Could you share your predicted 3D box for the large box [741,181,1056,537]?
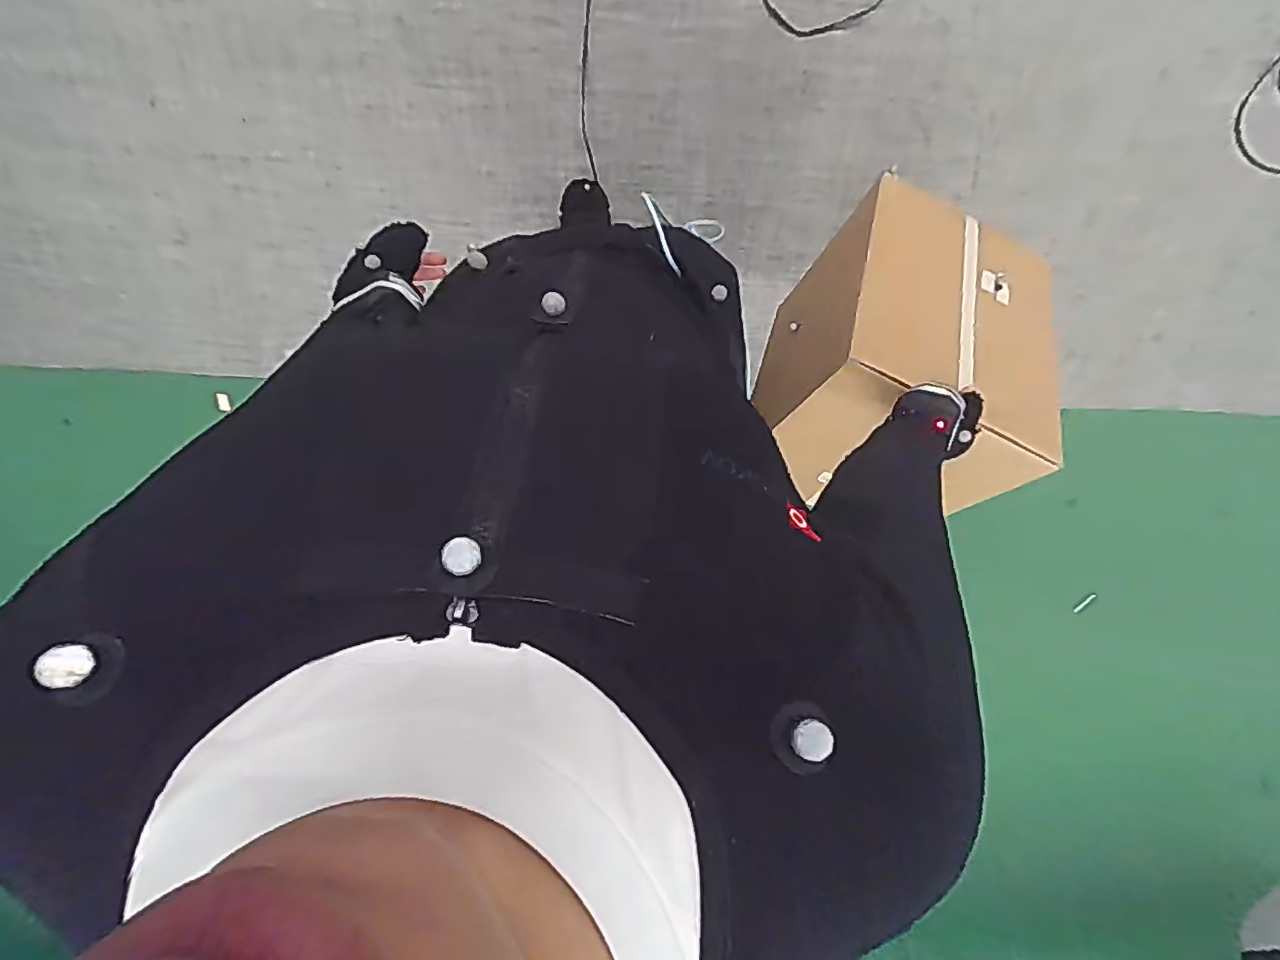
[{"bbox_3d":[0.400,-0.177,0.884,0.320,0.408,0.320,25,151,-8],"label":"large box"}]
